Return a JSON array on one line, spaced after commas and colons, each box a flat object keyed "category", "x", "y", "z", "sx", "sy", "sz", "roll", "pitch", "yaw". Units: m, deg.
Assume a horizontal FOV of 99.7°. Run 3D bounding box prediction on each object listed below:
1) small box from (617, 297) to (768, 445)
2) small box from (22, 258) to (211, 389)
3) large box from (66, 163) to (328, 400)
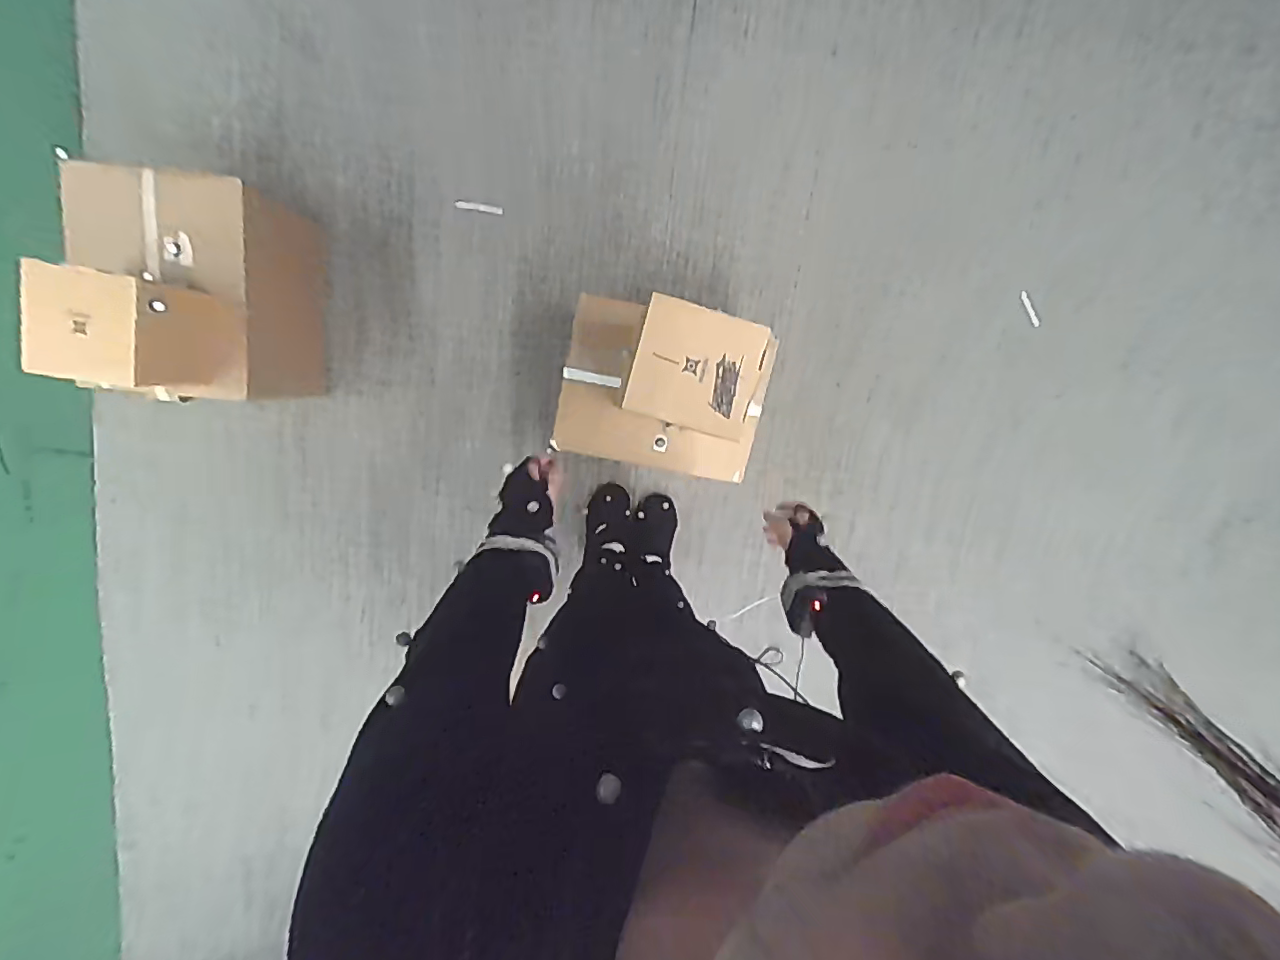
[{"category": "small box", "x": 0.069, "y": -0.160, "z": 0.830, "sx": 0.179, "sy": 0.176, "sz": 0.168, "roll": 16, "pitch": 95, "yaw": -6}, {"category": "small box", "x": -0.875, "y": -0.253, "z": 0.919, "sx": 0.168, "sy": 0.176, "sz": 0.179, "roll": 8, "pitch": 98, "yaw": -6}, {"category": "large box", "x": -0.895, "y": -0.380, "z": 1.146, "sx": 0.320, "sy": 0.320, "sz": 0.408, "roll": 5, "pitch": 98, "yaw": -4}]
